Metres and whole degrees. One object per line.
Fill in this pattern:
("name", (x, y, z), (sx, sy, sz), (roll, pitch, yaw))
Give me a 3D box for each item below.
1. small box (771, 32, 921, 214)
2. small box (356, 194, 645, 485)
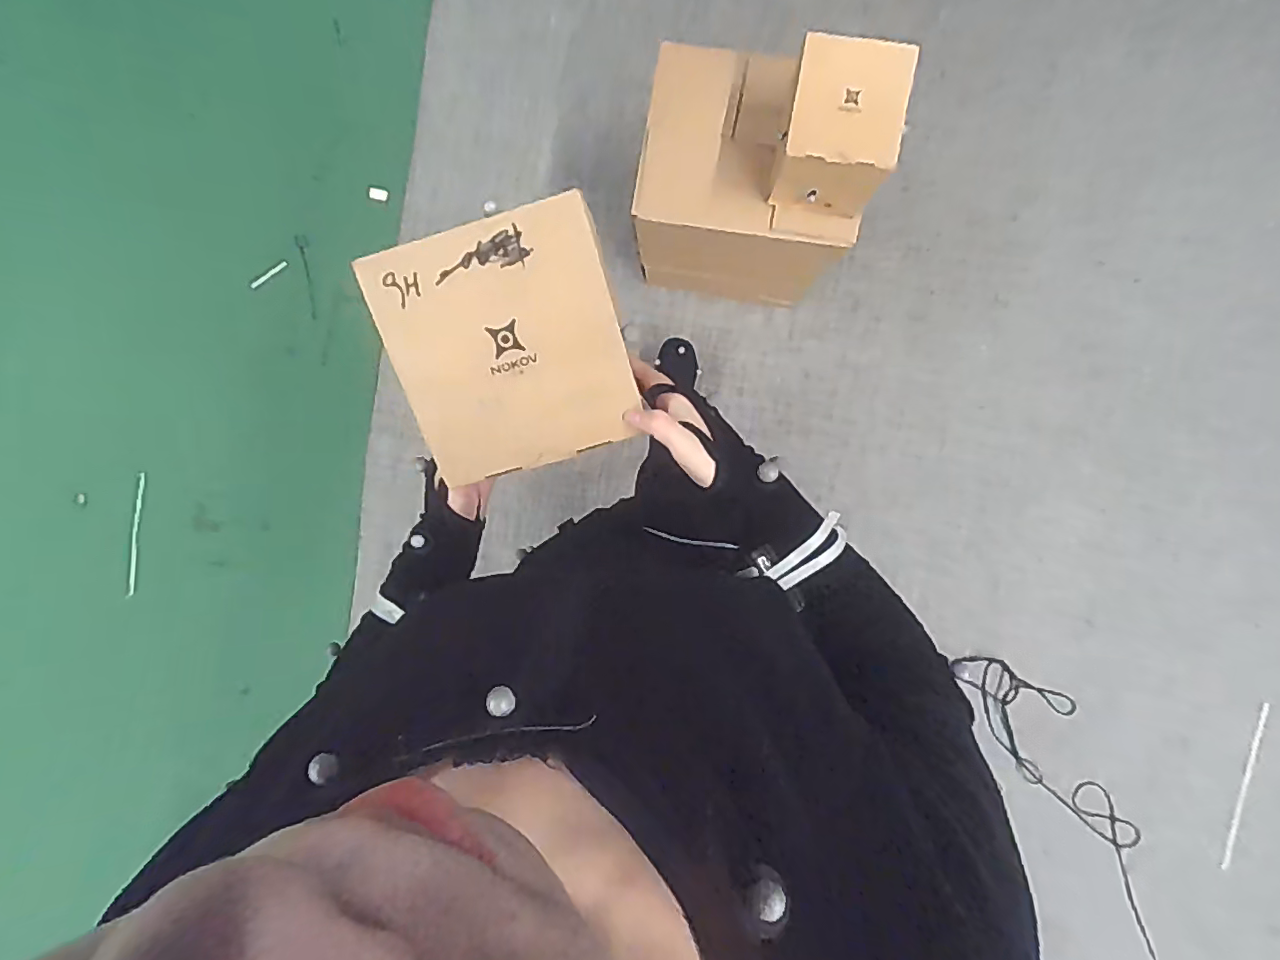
("small box", (0.317, -0.560, 0.869), (0.168, 0.176, 0.179), (10, 96, 3))
("small box", (-0.097, -0.121, 0.468), (0.168, 0.176, 0.179), (-16, 109, 3))
